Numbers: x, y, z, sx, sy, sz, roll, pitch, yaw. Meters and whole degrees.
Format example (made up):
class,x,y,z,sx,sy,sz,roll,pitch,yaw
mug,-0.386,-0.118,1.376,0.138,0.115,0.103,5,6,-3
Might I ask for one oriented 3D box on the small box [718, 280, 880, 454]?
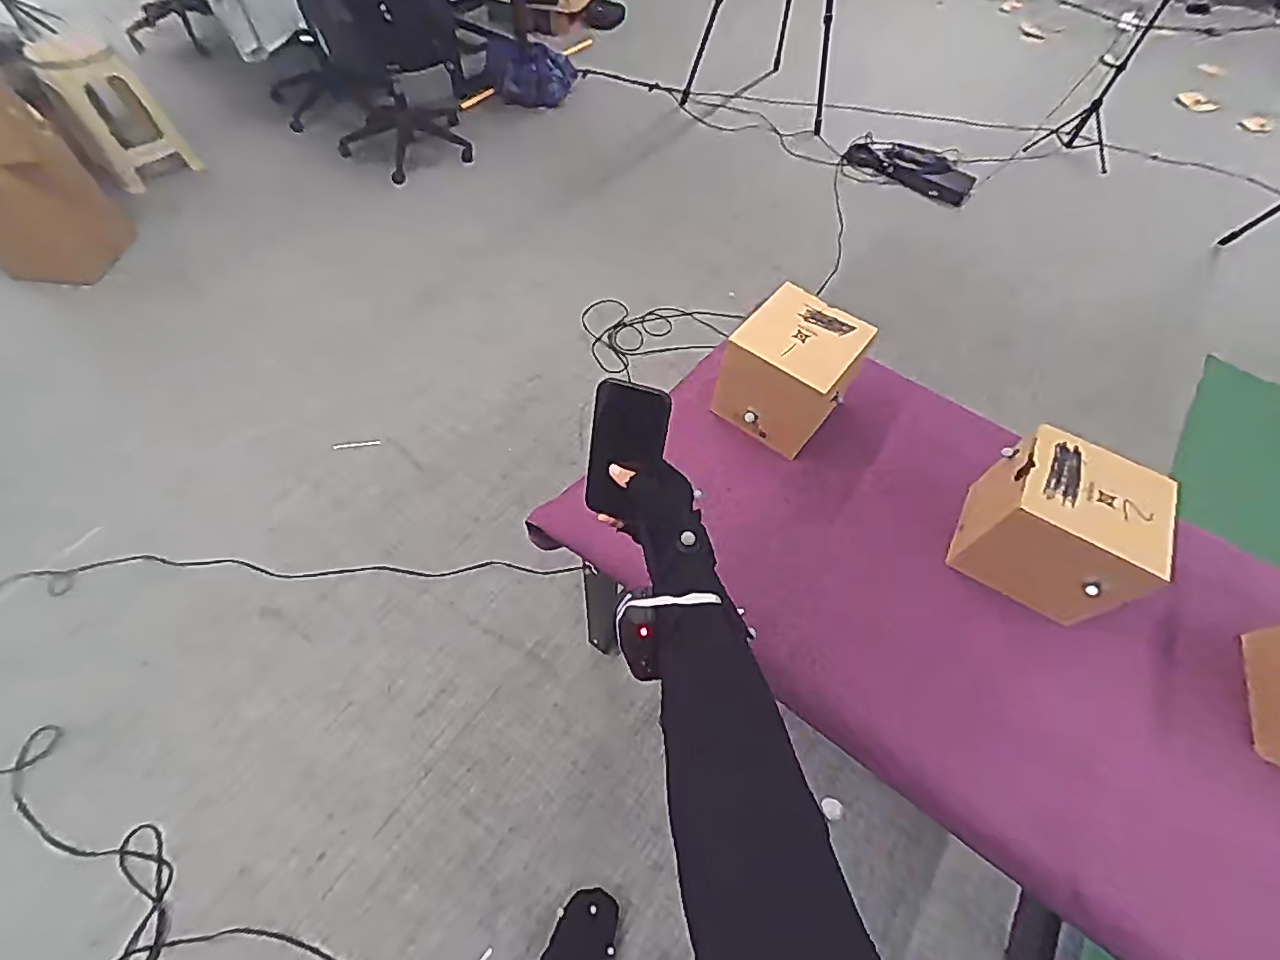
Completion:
class,x,y,z,sx,sy,sz,roll,pitch,yaw
small box,0.243,-0.177,0.868,0.168,0.176,0.179,36,63,18

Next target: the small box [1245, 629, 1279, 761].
class,x,y,z,sx,sy,sz,roll,pitch,yaw
small box,0.877,0.273,0.628,0.168,0.176,0.179,25,58,12
